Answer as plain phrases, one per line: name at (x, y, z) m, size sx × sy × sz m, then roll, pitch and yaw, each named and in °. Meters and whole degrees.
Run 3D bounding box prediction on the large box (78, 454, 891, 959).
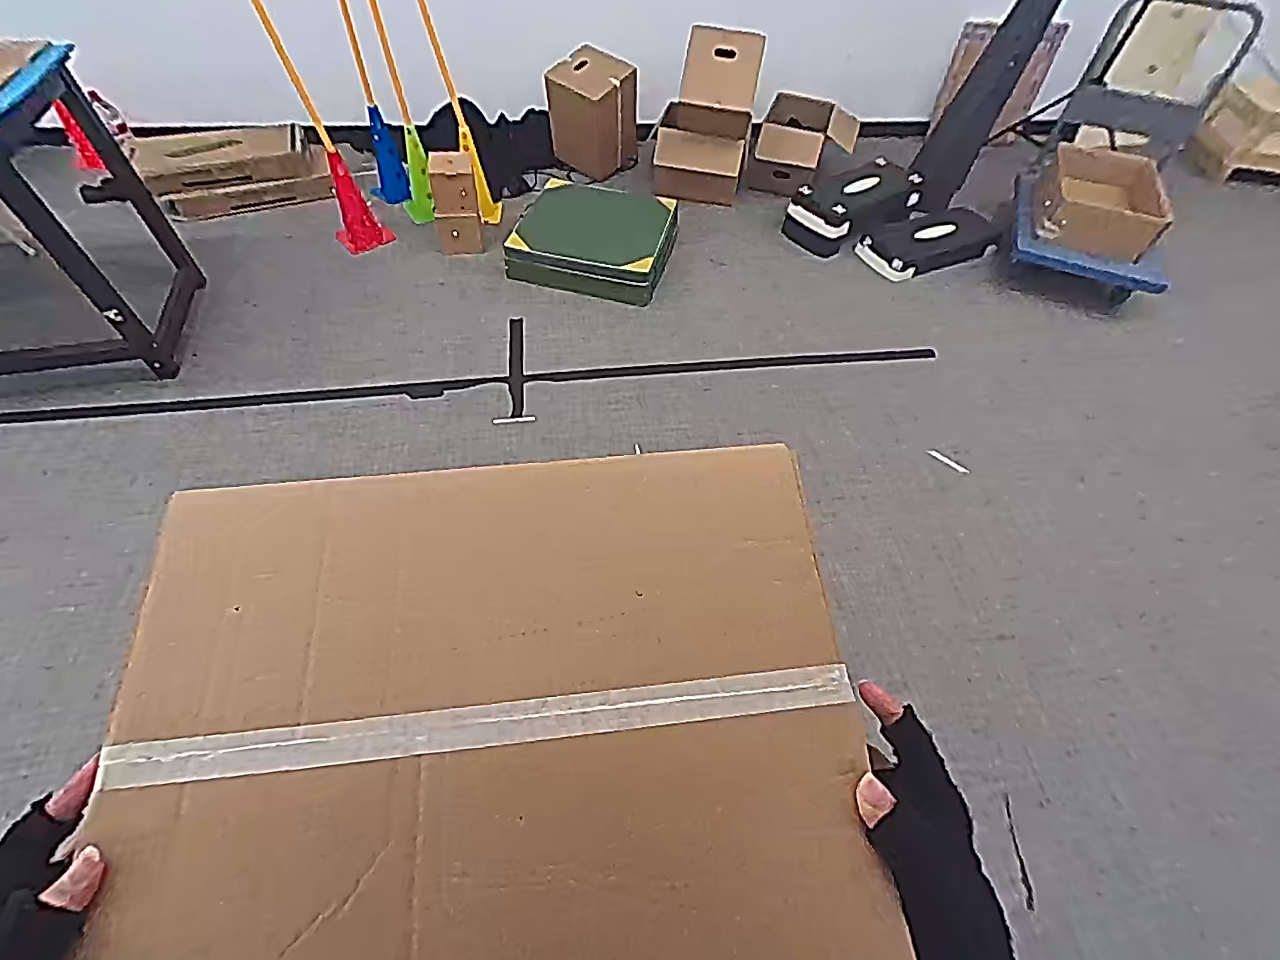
large box at (-0.087, 0.197, 0.447) m, size 0.408 × 0.320 × 0.320 m, roll -5°, pitch 66°, yaw -4°
